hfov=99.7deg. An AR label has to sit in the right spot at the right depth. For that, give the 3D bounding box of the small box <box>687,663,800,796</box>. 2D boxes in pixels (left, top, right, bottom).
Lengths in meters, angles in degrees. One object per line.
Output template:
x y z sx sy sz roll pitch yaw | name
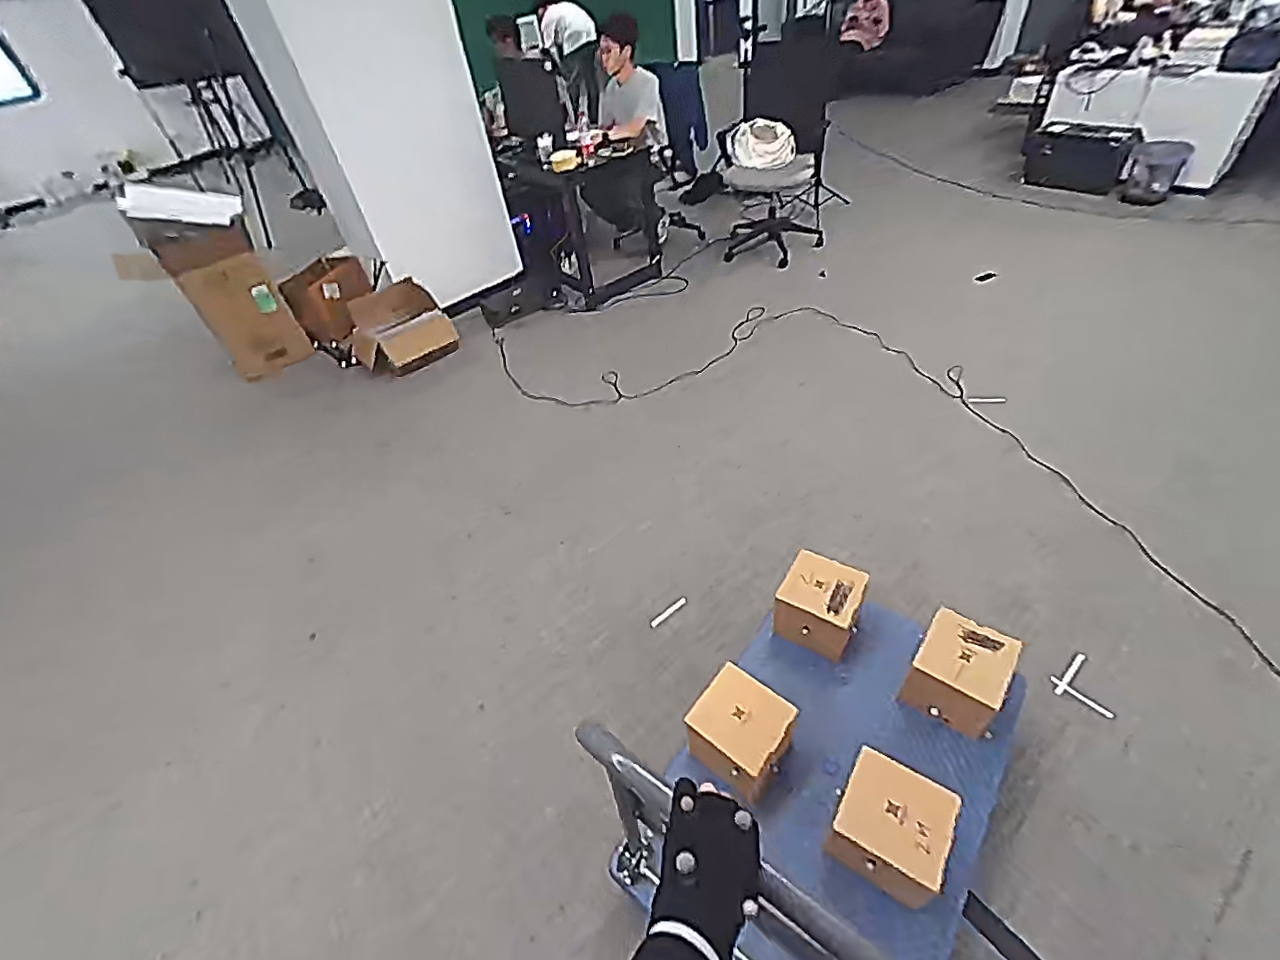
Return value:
0.219 0.539 1.161 0.179 0.176 0.168 28 55 31 | small box

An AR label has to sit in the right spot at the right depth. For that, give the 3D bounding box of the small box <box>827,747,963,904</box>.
0.465 0.645 1.006 0.179 0.176 0.168 22 52 29 | small box

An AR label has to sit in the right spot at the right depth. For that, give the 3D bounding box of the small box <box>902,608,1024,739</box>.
0.700 0.425 1.186 0.168 0.176 0.179 26 56 32 | small box
